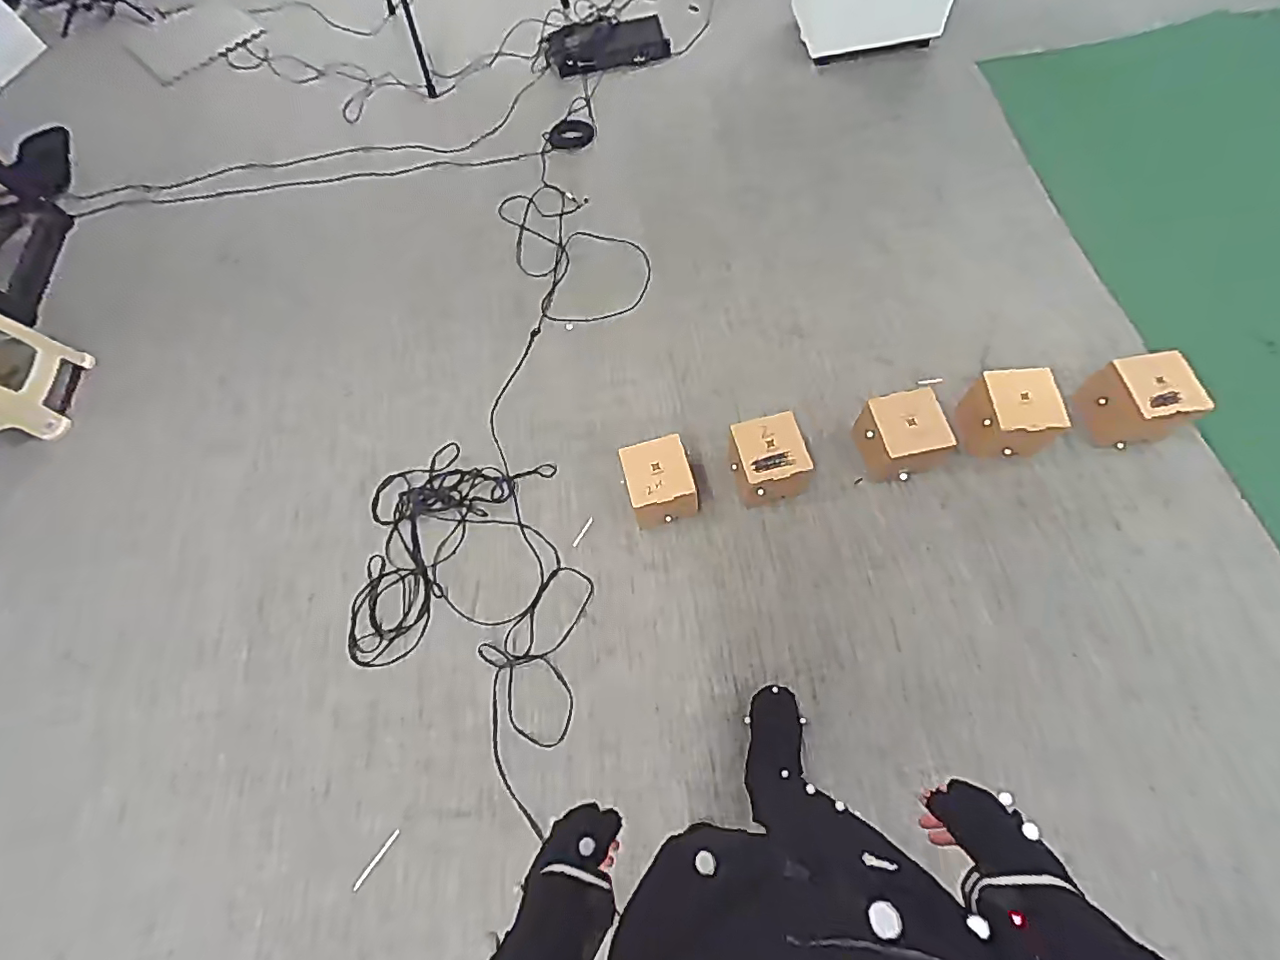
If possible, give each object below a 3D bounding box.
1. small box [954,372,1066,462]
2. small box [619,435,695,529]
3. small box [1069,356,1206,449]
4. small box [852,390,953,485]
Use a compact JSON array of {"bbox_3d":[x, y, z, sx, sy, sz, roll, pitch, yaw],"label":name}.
[{"bbox_3d":[0.964,-0.162,1.429,0.168,0.176,0.179,-3,66,4],"label":"small box"},{"bbox_3d":[0.048,0.009,1.448,0.168,0.176,0.179,-15,66,0],"label":"small box"},{"bbox_3d":[1.281,-0.193,1.409,0.168,0.176,0.179,-7,65,3],"label":"small box"},{"bbox_3d":[0.684,-0.109,1.433,0.168,0.176,0.179,-12,67,2],"label":"small box"}]
